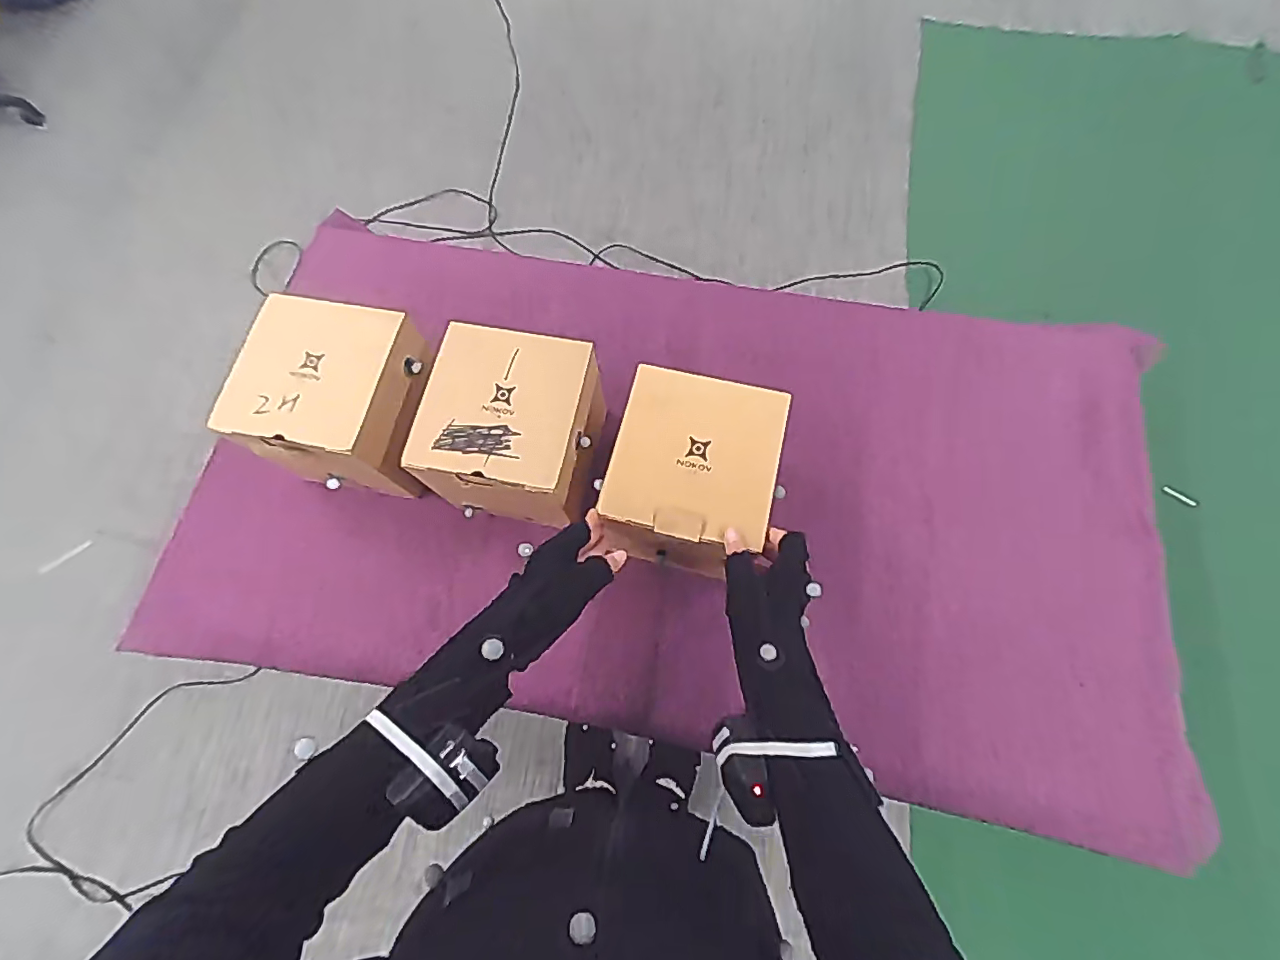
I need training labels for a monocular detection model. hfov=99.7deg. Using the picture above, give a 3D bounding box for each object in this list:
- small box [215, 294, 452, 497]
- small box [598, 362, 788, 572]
[{"bbox_3d":[-0.354,-0.096,0.668,0.168,0.176,0.179,10,72,6],"label":"small box"},{"bbox_3d":[0.059,-0.005,0.625,0.168,0.176,0.179,13,73,7],"label":"small box"}]
